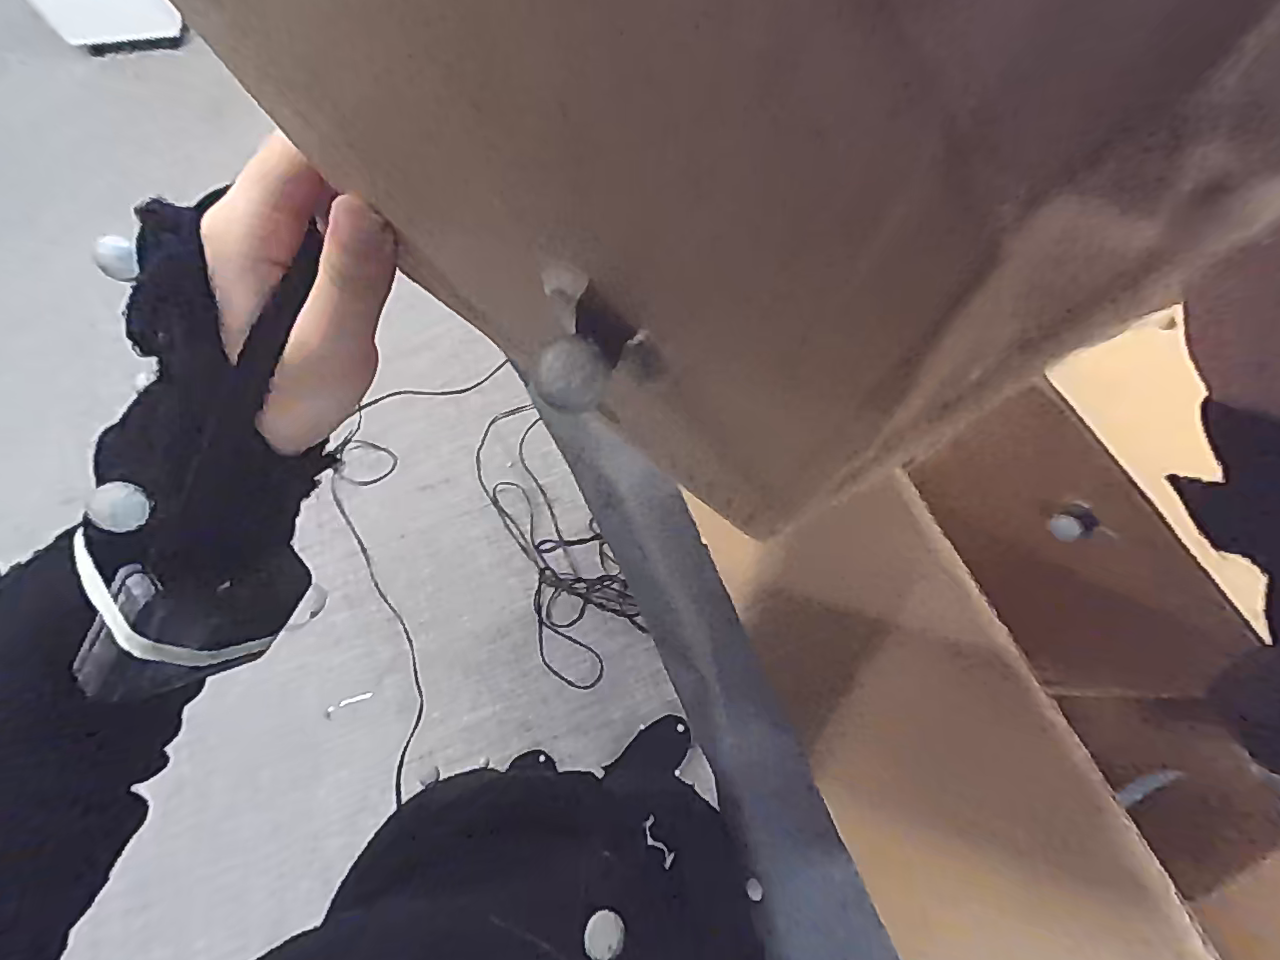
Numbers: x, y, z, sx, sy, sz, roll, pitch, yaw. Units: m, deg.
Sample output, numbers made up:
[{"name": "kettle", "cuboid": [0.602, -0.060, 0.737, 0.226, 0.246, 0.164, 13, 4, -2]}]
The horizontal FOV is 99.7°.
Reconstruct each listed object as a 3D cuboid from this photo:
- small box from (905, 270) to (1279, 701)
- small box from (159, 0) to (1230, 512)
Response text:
[{"name": "small box", "cuboid": [0.308, 0.016, 0.332, 0.168, 0.176, 0.179, -21, 70, -8]}, {"name": "small box", "cuboid": [0.017, -0.113, 0.114, 0.168, 0.176, 0.179, 37, 83, 10]}]
